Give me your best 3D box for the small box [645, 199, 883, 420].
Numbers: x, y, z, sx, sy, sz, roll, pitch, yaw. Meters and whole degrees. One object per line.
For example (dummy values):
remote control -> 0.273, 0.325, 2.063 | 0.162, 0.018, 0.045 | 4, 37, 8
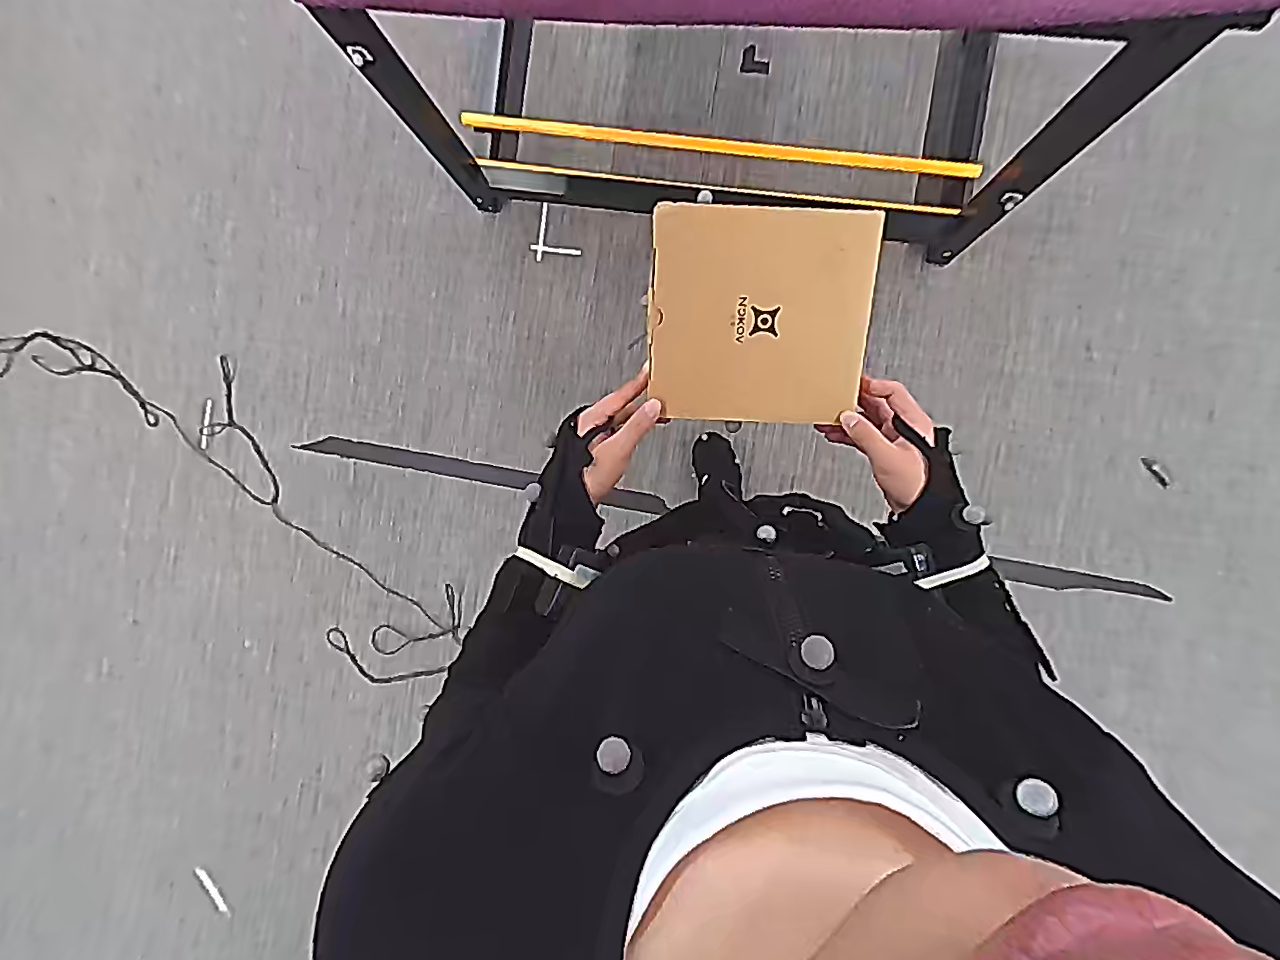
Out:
small box -> 0.097, -0.155, 0.504 | 0.179, 0.176, 0.168 | 2, 107, 3
